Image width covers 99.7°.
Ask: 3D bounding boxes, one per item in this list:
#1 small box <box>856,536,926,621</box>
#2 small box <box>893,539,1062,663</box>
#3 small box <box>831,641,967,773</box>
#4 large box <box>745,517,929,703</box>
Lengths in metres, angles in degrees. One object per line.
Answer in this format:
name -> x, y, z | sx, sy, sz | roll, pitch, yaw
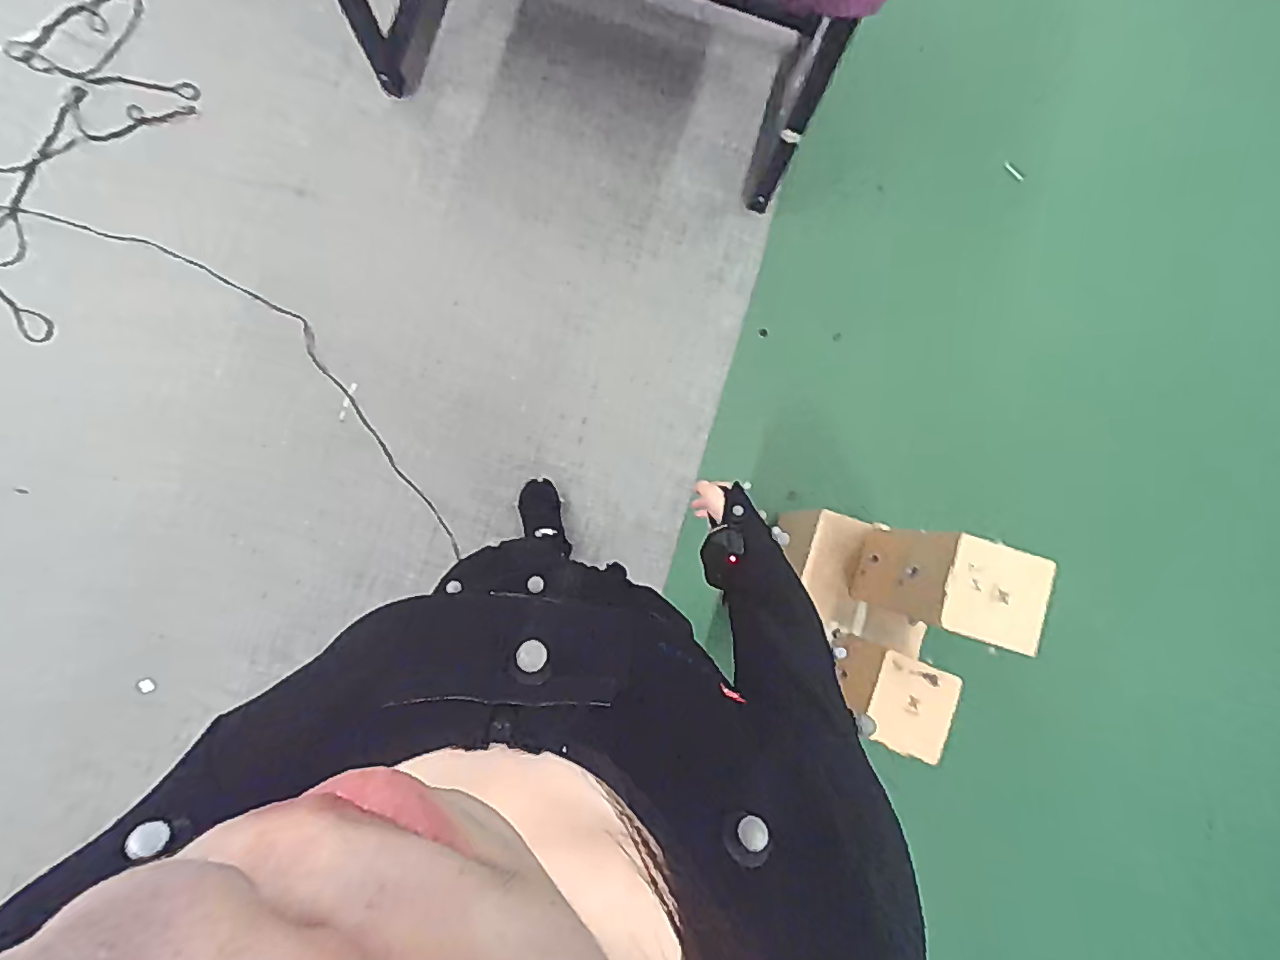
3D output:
small box -> 0.592, 0.220, 1.142 | 0.179, 0.176, 0.168 | 19, 85, -2
small box -> 0.599, 0.207, 0.978 | 0.179, 0.176, 0.168 | 18, 84, -2
small box -> 0.520, 0.456, 1.113 | 0.168, 0.176, 0.179 | 24, 83, -2
large box -> 0.497, 0.325, 1.370 | 0.320, 0.320, 0.408 | 19, 85, -1
